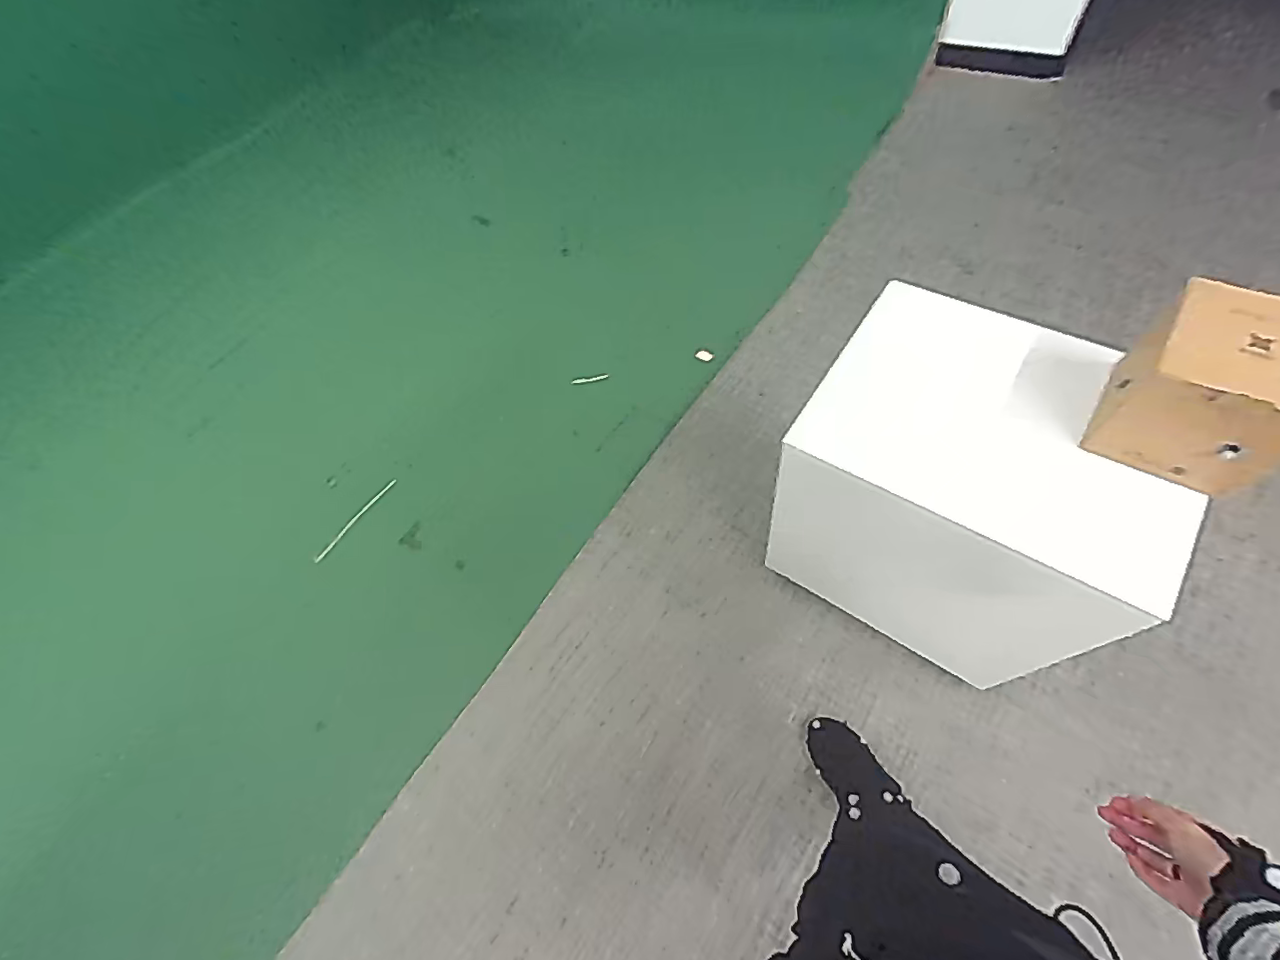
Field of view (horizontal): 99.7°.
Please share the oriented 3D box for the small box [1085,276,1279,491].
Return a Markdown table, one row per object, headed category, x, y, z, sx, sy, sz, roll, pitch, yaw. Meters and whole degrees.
| category | x | y | z | sx | sy | sz | roll | pitch | yaw |
| --- | --- | --- | --- | --- | --- | --- | --- | --- | --- |
| small box | 0.715 | -0.116 | 0.685 | 0.168 | 0.176 | 0.179 | 29 | 69 | 23 |
